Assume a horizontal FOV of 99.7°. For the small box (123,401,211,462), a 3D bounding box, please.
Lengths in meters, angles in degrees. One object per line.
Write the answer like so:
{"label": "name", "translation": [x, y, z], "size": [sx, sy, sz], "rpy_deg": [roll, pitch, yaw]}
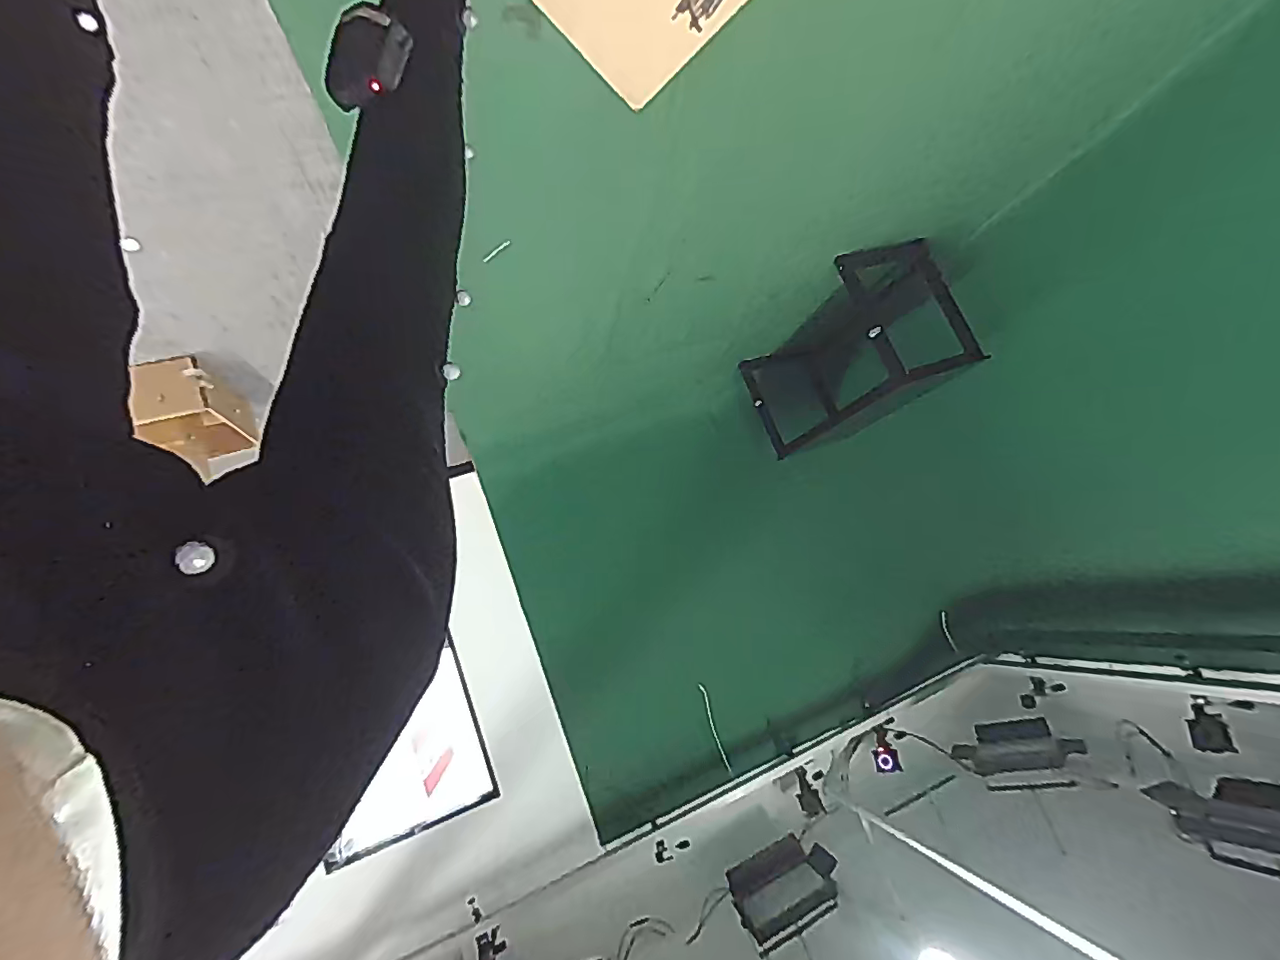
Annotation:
{"label": "small box", "translation": [-1.582, -0.149, 1.812], "size": [0.168, 0.176, 0.179], "rpy_deg": [-14, 167, -20]}

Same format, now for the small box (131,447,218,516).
{"label": "small box", "translation": [-1.532, 0.004, 1.786], "size": [0.168, 0.176, 0.179], "rpy_deg": [-14, 168, -24]}
